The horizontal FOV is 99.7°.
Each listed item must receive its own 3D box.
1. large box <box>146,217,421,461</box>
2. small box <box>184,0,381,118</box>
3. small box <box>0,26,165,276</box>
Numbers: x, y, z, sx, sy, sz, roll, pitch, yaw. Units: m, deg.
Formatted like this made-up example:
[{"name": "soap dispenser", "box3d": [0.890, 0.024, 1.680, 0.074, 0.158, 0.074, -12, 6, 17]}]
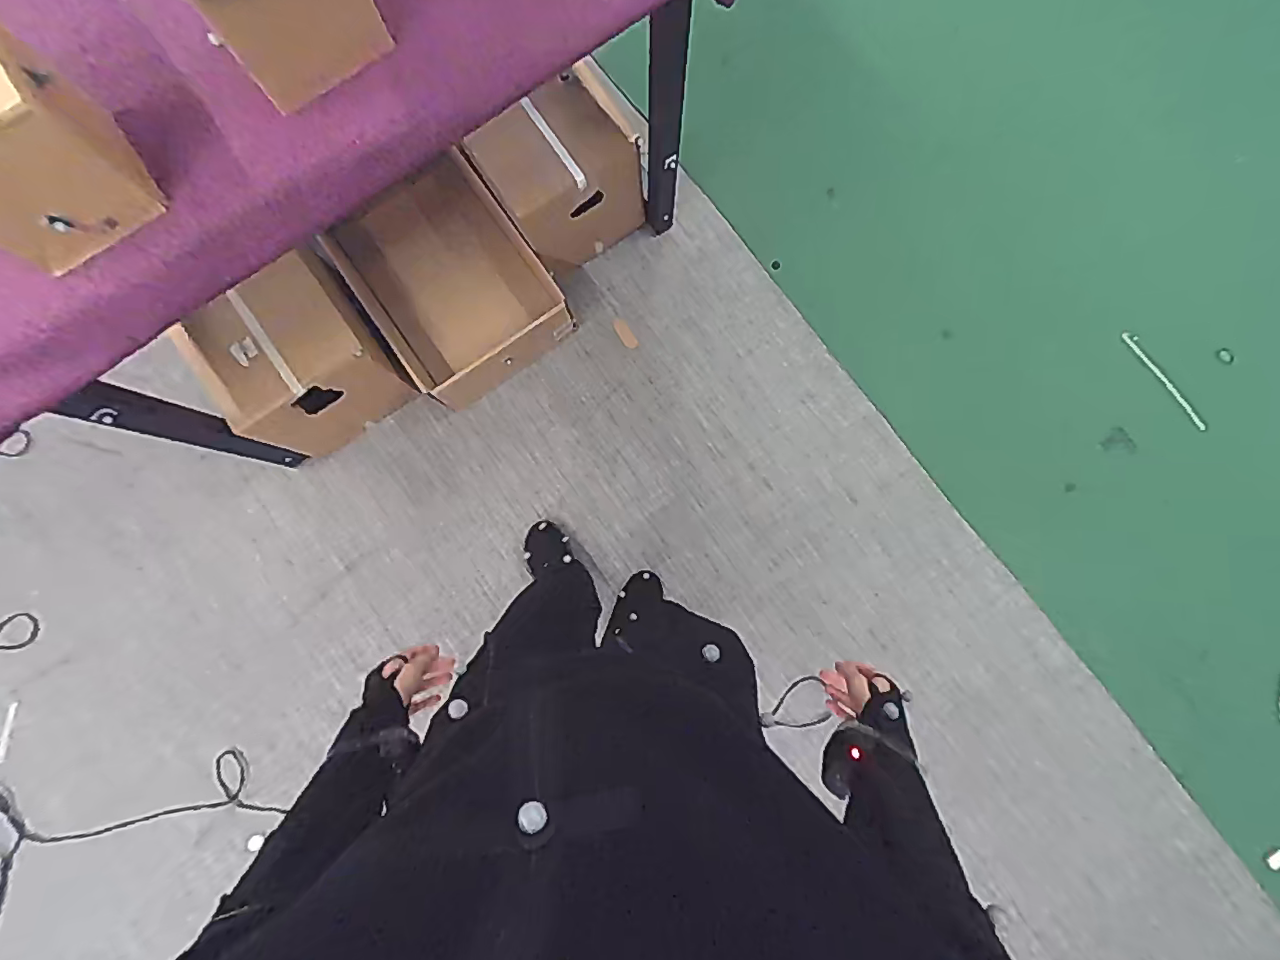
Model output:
[{"name": "large box", "box3d": [-0.806, -0.309, 1.280, 0.320, 0.320, 0.408, -36, 85, -4]}, {"name": "small box", "box3d": [-0.445, -0.594, 0.646, 0.179, 0.176, 0.168, -37, 82, -4]}, {"name": "small box", "box3d": [-0.720, -0.377, 0.621, 0.168, 0.176, 0.179, -35, 83, -5]}]
